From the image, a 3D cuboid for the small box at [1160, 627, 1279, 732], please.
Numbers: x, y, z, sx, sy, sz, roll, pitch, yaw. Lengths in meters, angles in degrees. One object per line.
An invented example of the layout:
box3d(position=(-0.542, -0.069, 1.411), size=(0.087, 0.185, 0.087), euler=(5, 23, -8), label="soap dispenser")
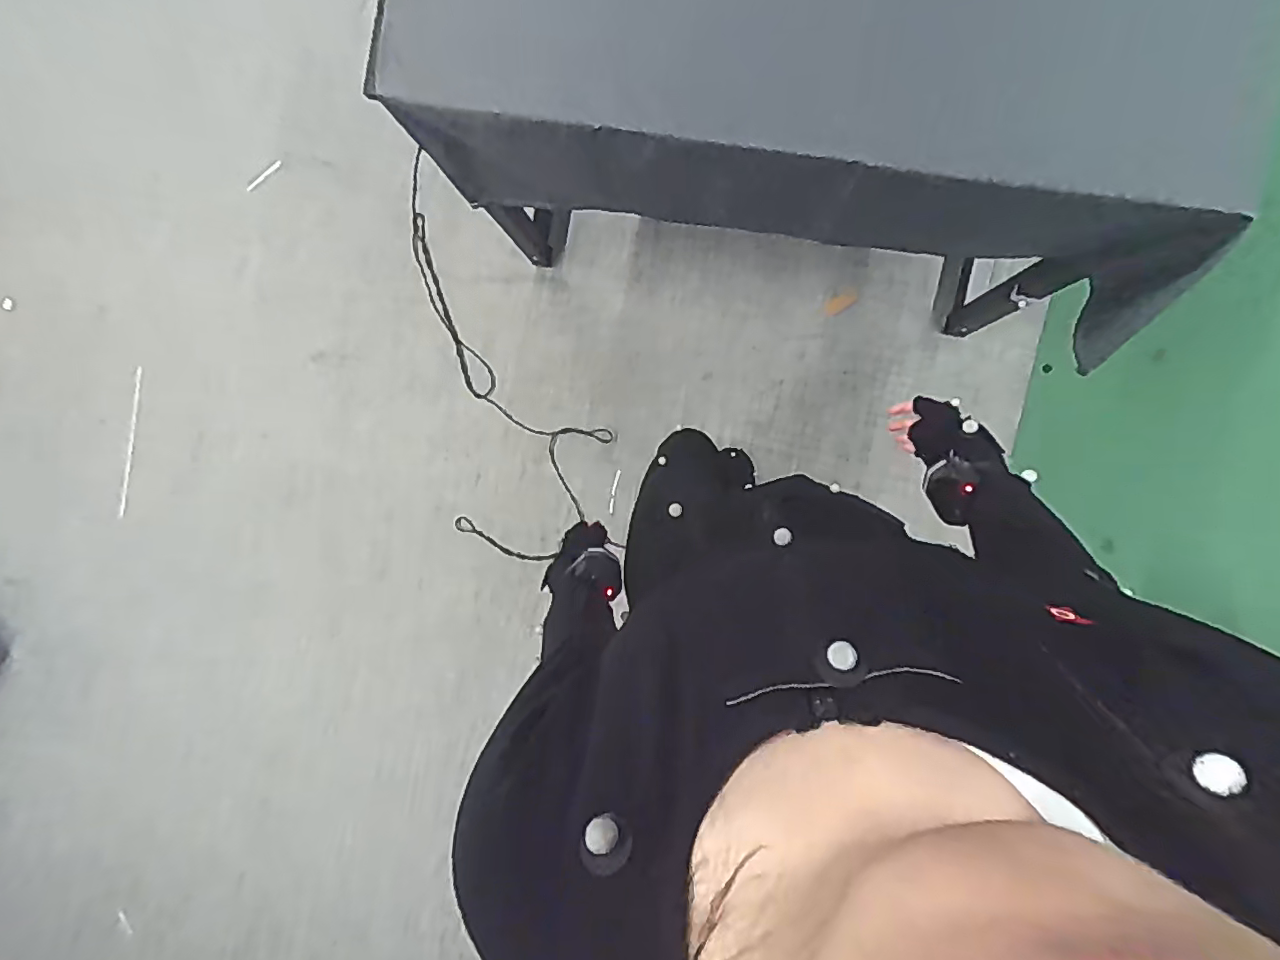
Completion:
box3d(position=(1.399, 0.461, 1.271), size=(0.179, 0.176, 0.168), euler=(17, 94, 6), label="small box")
